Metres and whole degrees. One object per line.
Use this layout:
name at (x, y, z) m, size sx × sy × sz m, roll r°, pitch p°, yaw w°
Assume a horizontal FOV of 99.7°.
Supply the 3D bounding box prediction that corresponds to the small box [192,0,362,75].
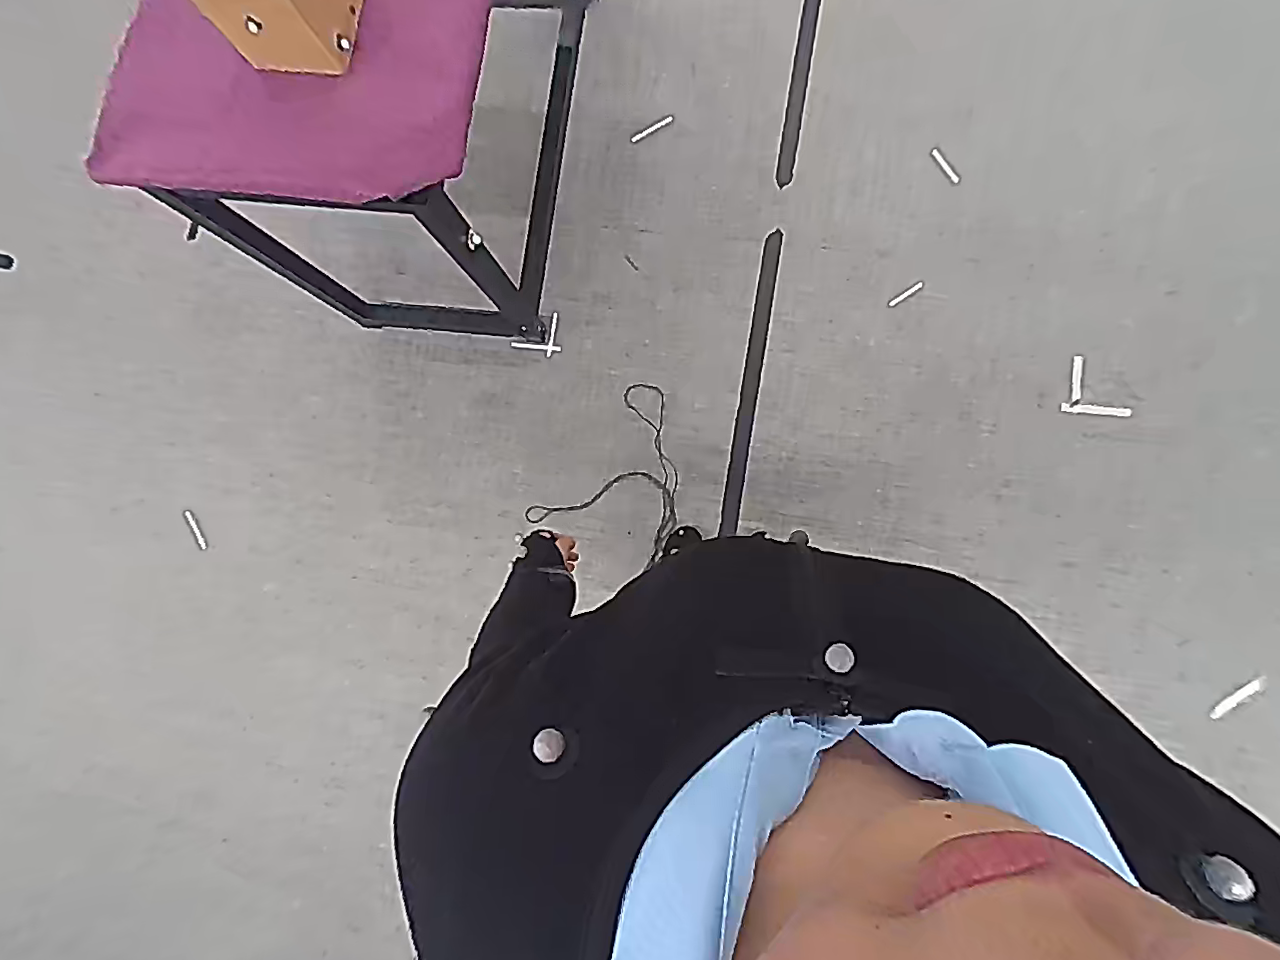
small box at (-0.578, -0.790, 0.861) m, size 0.179 × 0.176 × 0.168 m, roll 8°, pitch 85°, yaw 6°
